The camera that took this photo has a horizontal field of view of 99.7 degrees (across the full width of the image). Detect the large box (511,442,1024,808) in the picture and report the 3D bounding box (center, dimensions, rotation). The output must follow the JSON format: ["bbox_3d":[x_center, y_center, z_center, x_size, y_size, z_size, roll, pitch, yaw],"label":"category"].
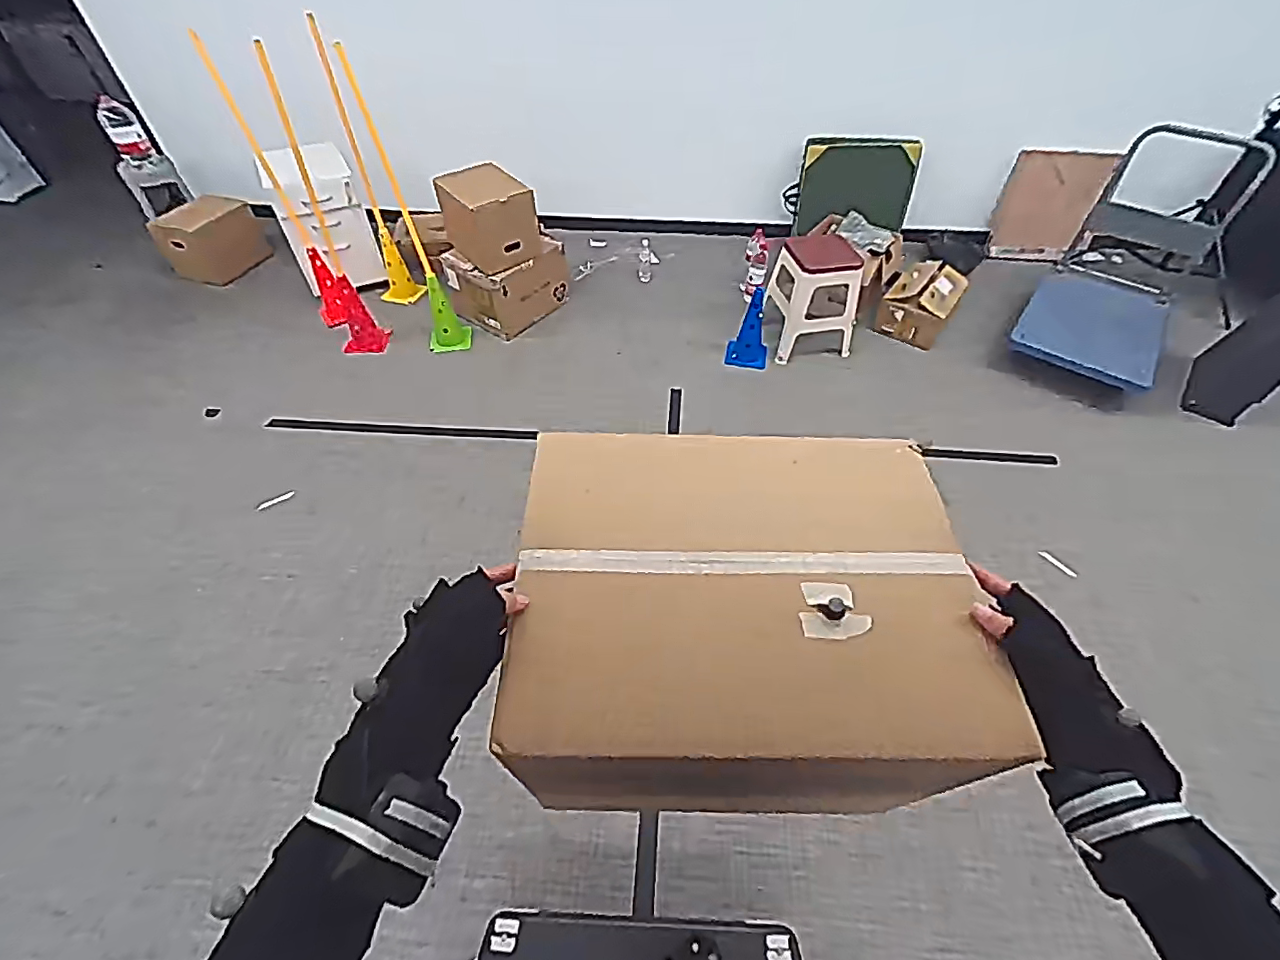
[{"bbox_3d":[0.091,0.170,0.615,0.408,0.320,0.320,1,53,-2],"label":"large box"}]

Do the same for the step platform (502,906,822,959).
[{"bbox_3d":[0.043,1.077,1.124,0.684,0.204,0.286,2,49,0],"label":"step platform"}]
